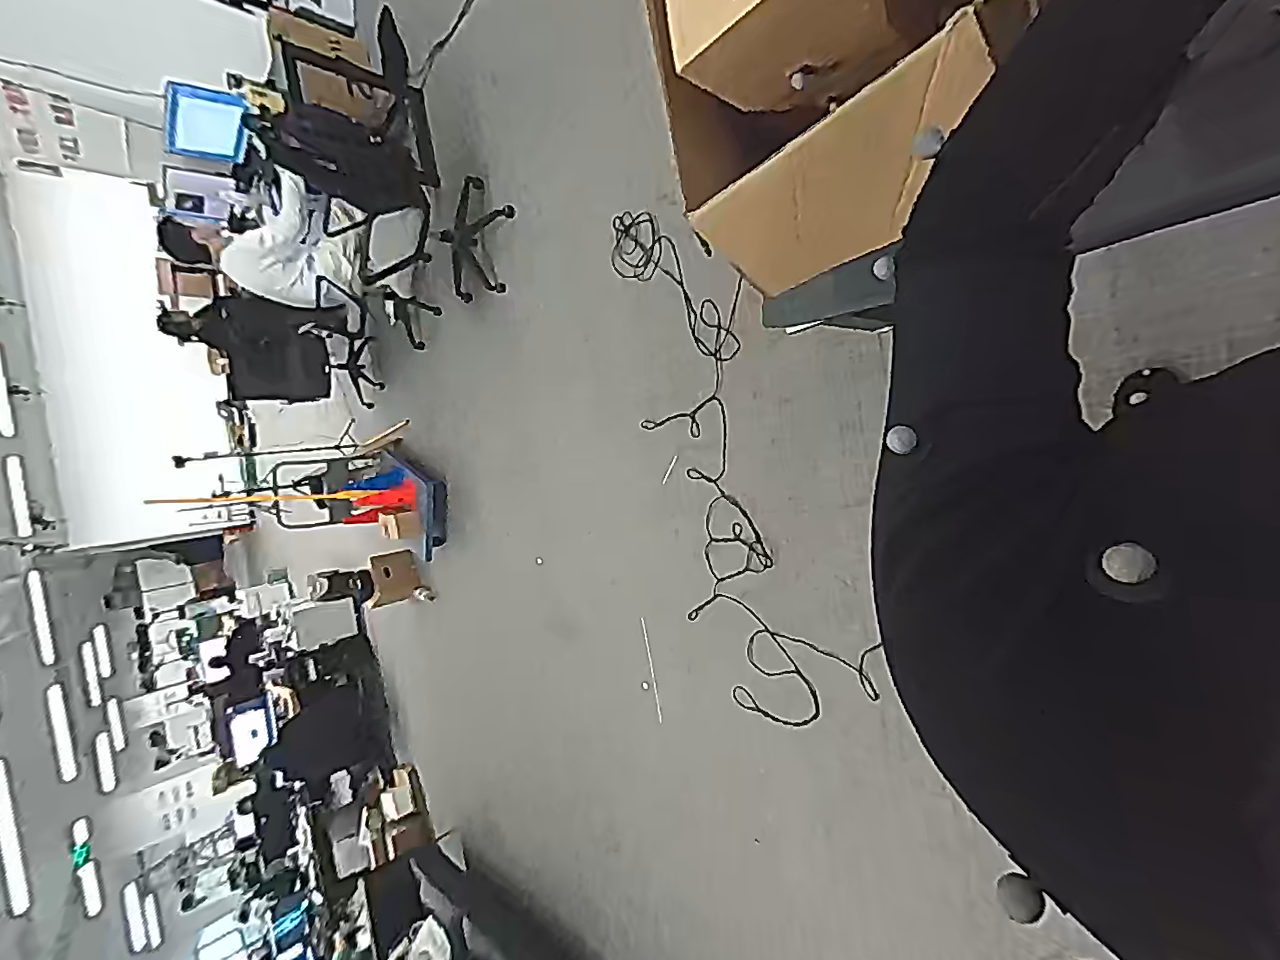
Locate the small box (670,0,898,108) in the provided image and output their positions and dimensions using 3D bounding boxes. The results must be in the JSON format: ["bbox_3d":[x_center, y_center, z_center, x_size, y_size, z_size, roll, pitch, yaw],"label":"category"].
[{"bbox_3d":[0.142,-0.530,0.550,0.168,0.176,0.179,-5,96,47],"label":"small box"}]
